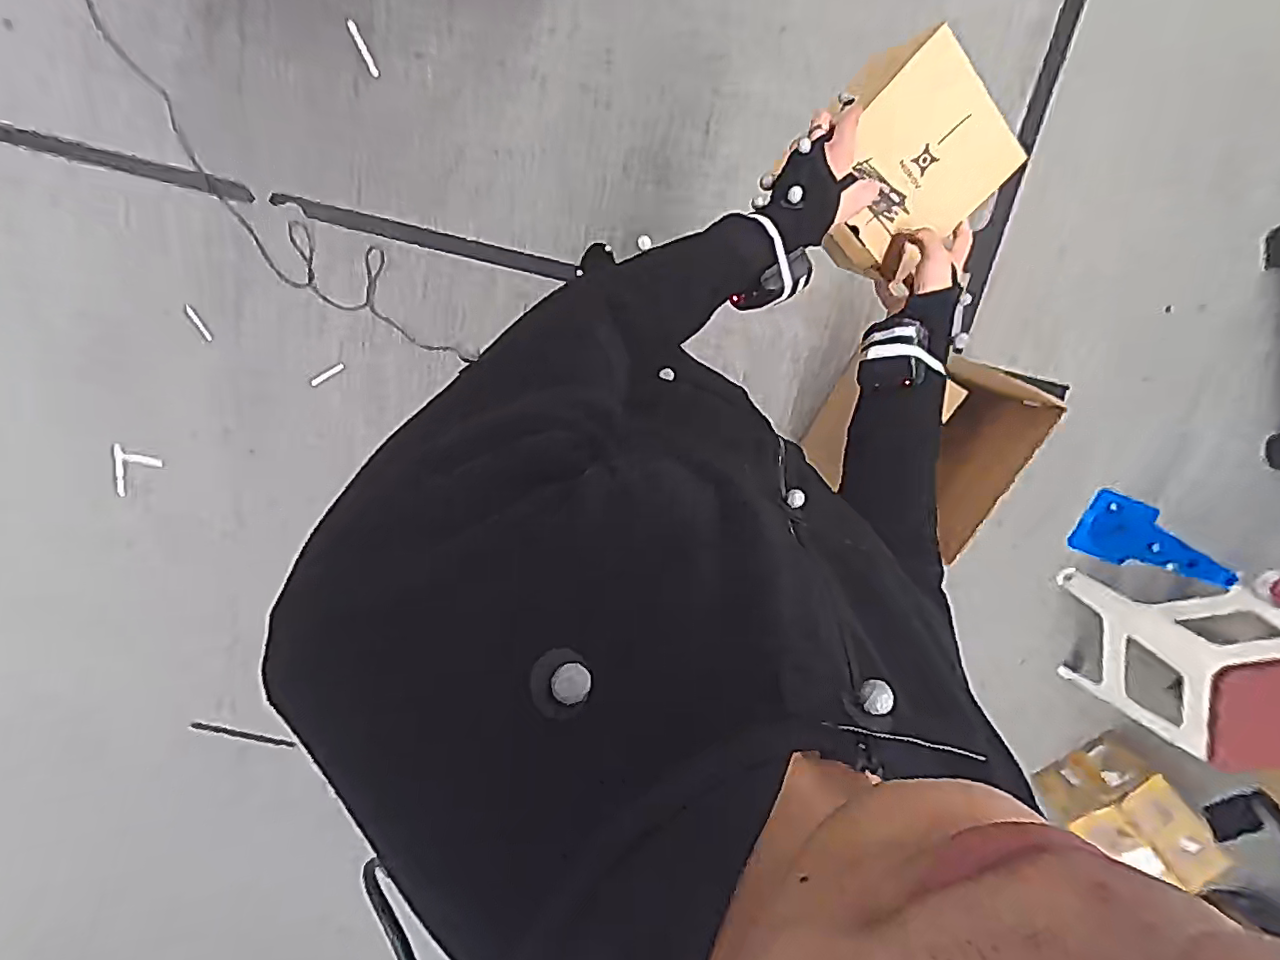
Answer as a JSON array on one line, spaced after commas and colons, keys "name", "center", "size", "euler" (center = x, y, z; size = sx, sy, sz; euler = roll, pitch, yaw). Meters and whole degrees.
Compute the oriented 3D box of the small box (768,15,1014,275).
[{"name": "small box", "center": [0.271, -0.372, 0.633], "size": [0.168, 0.176, 0.179], "euler": [38, 109, -20]}]
